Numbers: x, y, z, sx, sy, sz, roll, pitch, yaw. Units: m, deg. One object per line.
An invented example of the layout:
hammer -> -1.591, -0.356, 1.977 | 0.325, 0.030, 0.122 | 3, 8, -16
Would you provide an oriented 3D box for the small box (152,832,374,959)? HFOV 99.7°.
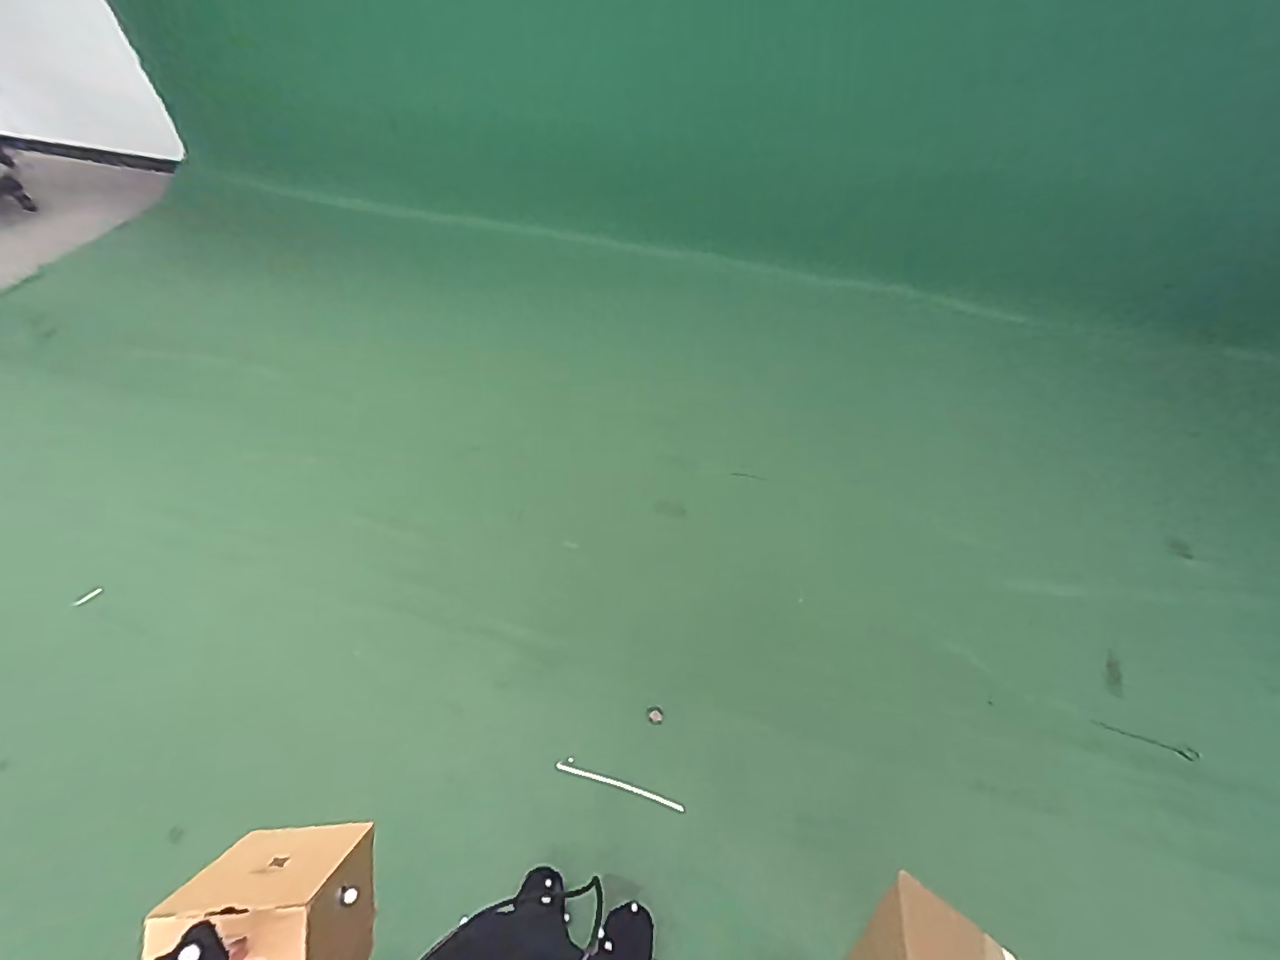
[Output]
small box -> -0.442, 0.559, 0.648 | 0.168, 0.179, 0.176 | -2, 83, -4
